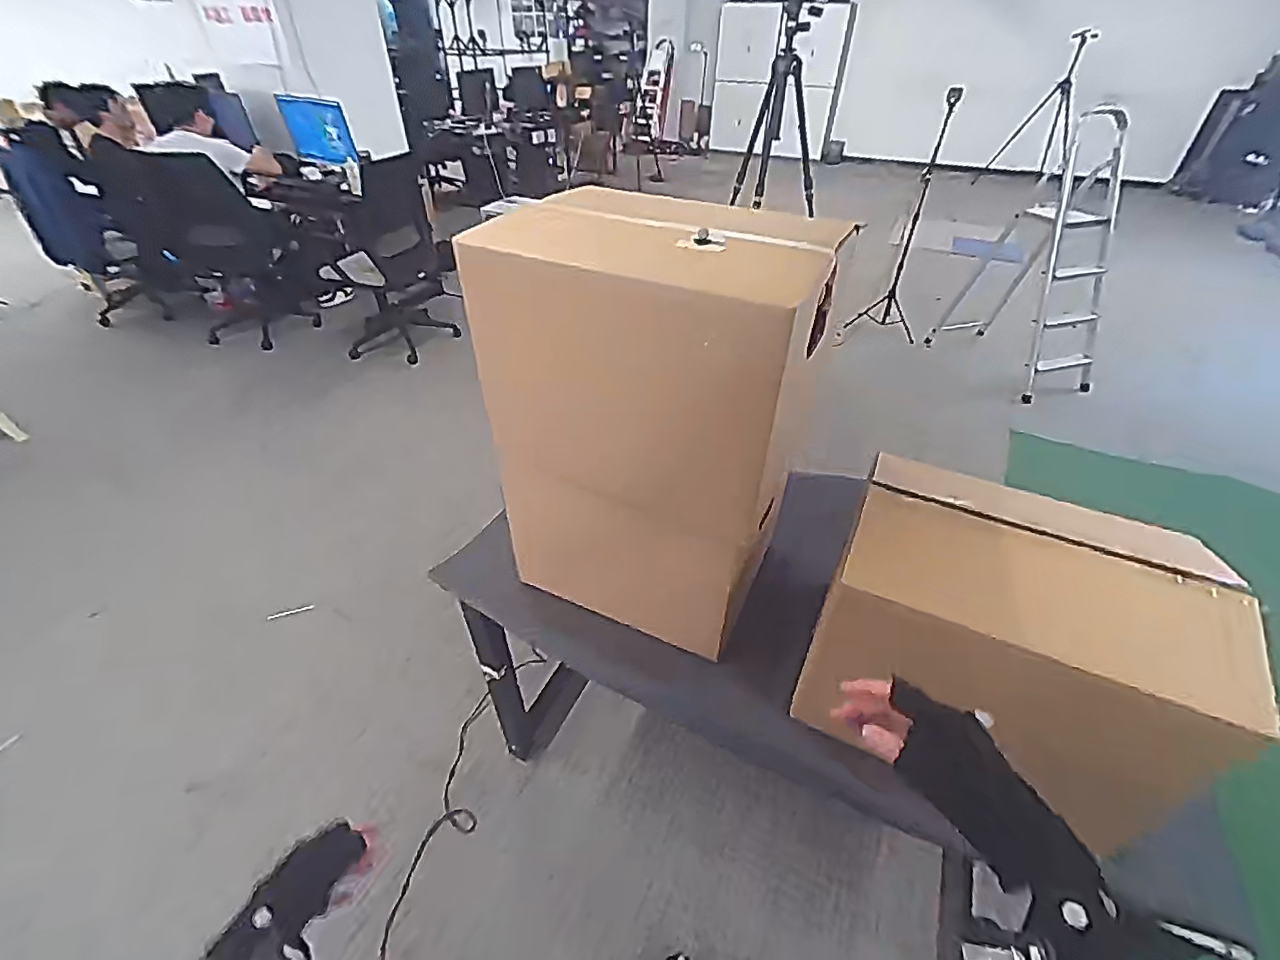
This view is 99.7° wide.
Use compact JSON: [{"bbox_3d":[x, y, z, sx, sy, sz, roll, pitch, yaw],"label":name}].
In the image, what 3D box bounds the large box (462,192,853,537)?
[{"bbox_3d":[0.027,-0.181,0.760,0.408,0.320,0.320,20,44,19],"label":"large box"}]
